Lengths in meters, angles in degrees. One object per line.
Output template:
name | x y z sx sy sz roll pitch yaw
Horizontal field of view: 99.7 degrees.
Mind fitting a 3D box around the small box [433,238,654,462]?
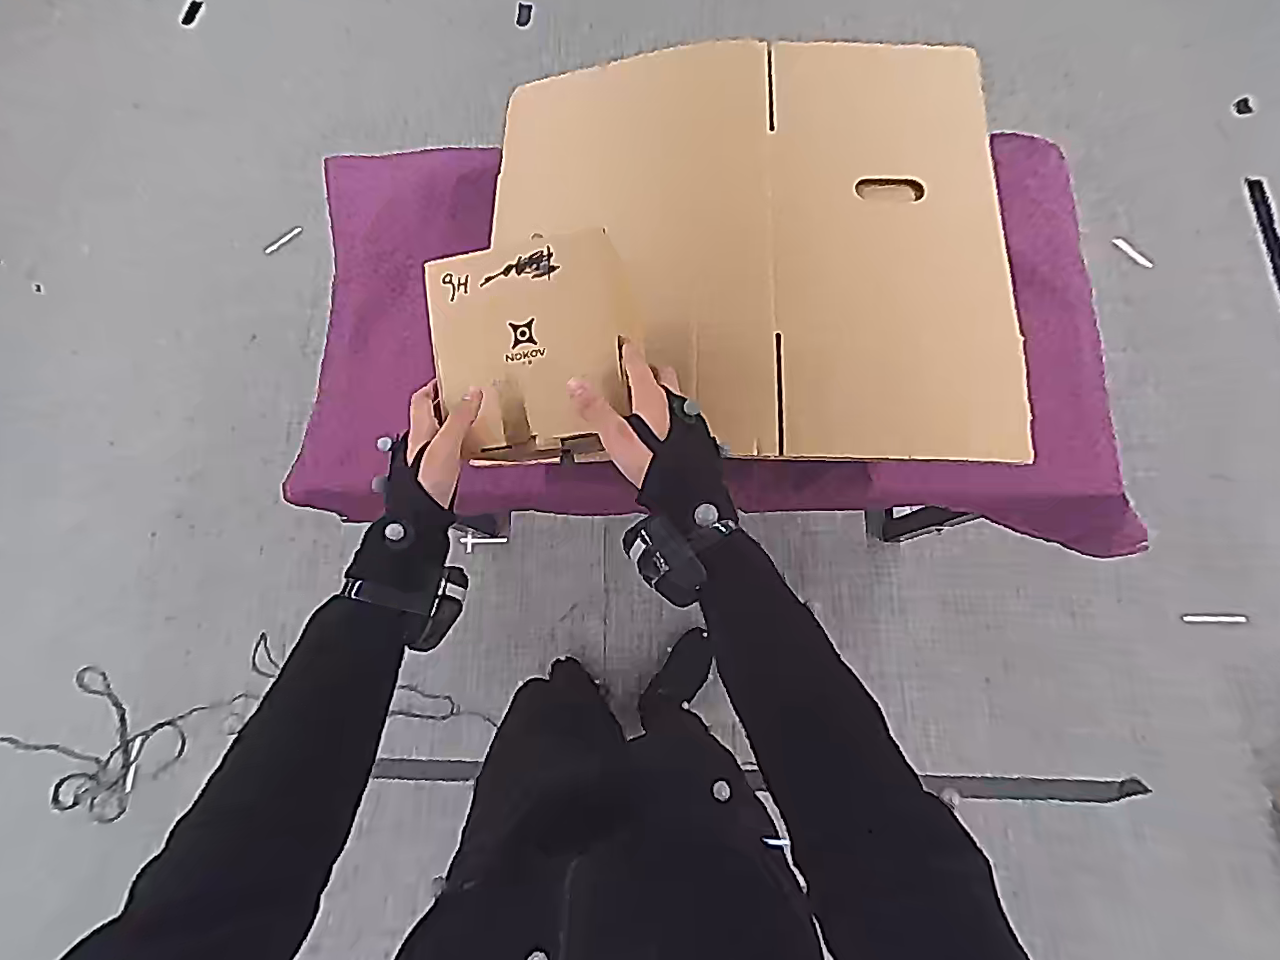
small box | -0.084 -0.113 0.549 0.168 0.176 0.179 -7 89 9
